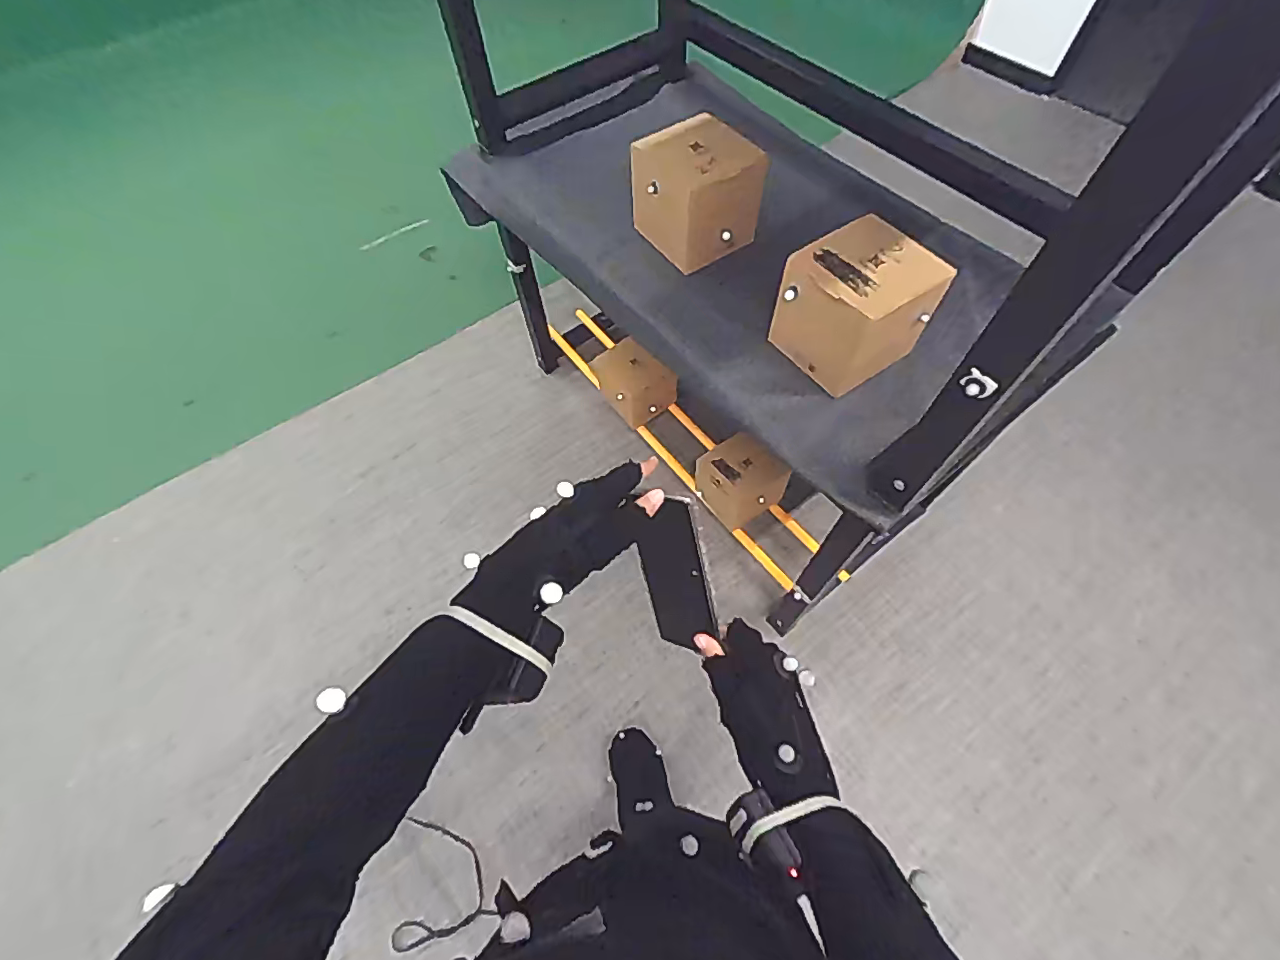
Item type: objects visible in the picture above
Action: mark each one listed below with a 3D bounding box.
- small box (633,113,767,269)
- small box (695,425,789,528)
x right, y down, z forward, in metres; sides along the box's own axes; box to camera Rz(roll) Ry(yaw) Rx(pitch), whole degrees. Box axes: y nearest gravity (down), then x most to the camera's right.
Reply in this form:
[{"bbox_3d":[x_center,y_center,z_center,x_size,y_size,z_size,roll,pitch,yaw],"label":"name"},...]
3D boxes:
[{"bbox_3d":[0.102,-0.526,0.995,0.168,0.176,0.179,-32,65,-14],"label":"small box"},{"bbox_3d":[0.260,-0.003,1.412,0.179,0.176,0.168,-32,65,-14],"label":"small box"}]
